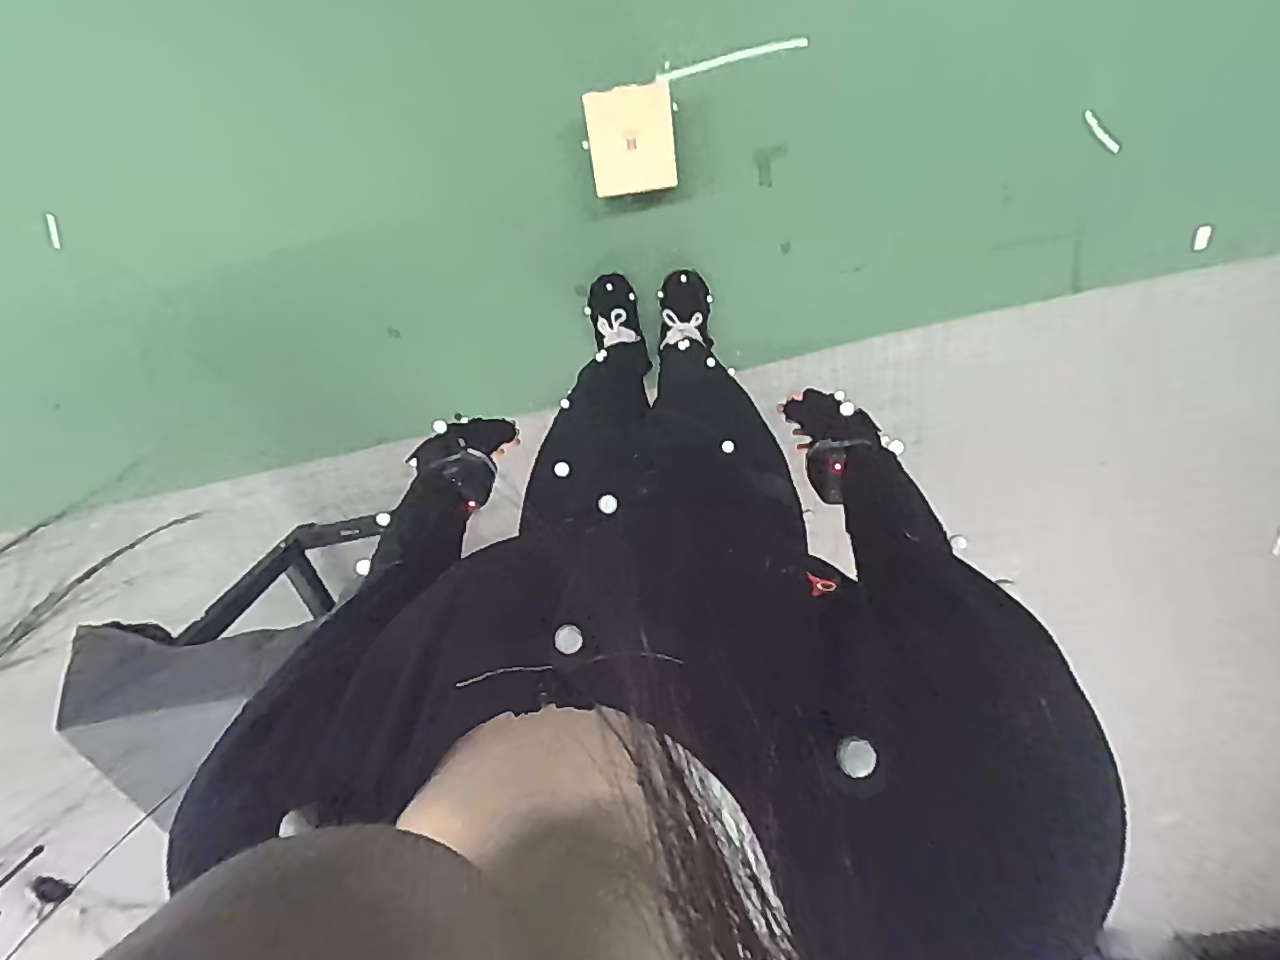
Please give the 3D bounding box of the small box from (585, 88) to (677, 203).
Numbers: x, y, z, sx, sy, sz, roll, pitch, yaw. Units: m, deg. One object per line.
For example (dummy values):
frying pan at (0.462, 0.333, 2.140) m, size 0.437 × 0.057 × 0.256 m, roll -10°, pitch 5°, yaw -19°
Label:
small box at (-0.012, -0.684, 1.124) m, size 0.168 × 0.176 × 0.179 m, roll -6°, pitch 115°, yaw 4°
